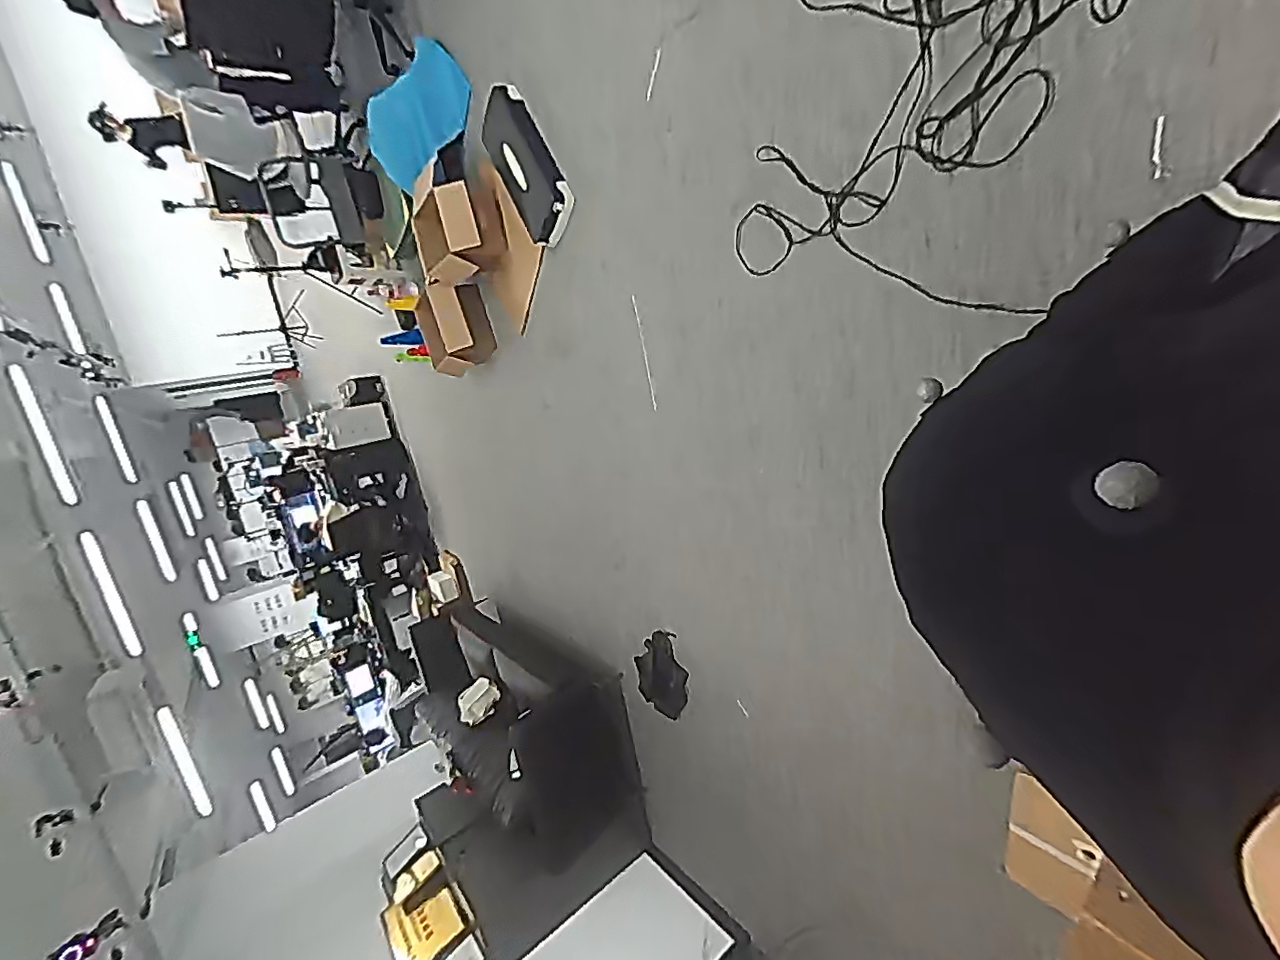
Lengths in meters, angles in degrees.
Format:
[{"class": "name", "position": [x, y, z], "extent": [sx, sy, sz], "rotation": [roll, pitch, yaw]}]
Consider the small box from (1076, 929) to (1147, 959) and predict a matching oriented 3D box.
[{"class": "small box", "position": [0.777, 0.874, 0.845], "extent": [0.179, 0.176, 0.168], "rotation": [16, 120, 51]}]

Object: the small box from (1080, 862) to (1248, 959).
[{"class": "small box", "position": [0.898, 0.814, 0.936], "extent": [0.179, 0.176, 0.168], "rotation": [16, 120, 49]}]

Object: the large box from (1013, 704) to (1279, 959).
[{"class": "large box", "position": [1.063, 0.745, 1.105], "extent": [0.408, 0.320, 0.320], "rotation": [16, 118, 52]}]
